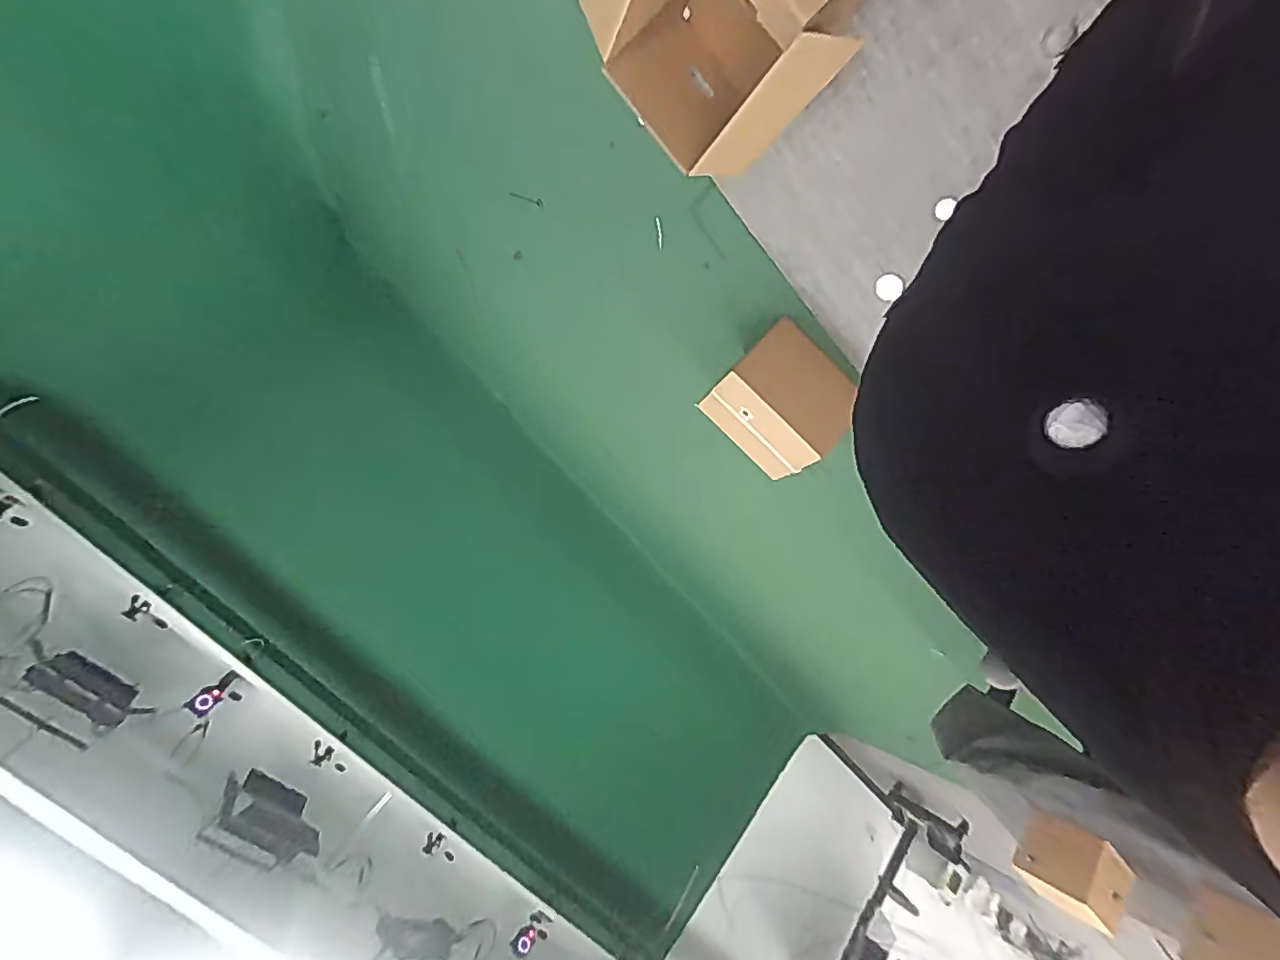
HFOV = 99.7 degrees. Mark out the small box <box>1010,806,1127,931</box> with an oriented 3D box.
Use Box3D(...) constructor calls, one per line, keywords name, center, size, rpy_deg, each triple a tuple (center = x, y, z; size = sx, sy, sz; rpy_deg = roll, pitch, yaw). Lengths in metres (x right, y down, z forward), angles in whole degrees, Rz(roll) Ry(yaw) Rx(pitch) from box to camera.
Box3D(name="small box", center=(1.113, 0.990, 1.397), size=(0.168, 0.176, 0.179), rpy_deg=(48, 160, -15))
